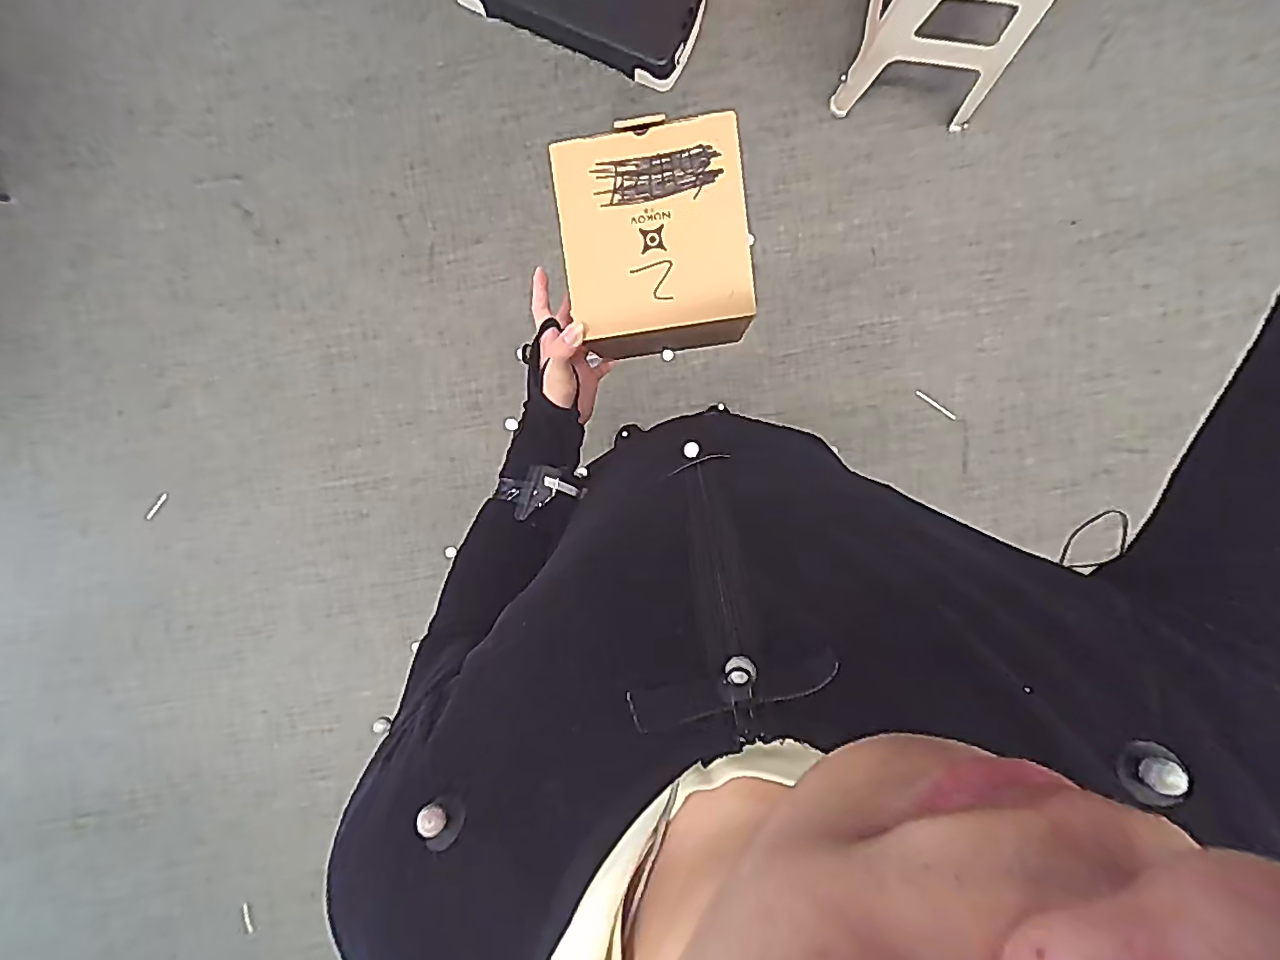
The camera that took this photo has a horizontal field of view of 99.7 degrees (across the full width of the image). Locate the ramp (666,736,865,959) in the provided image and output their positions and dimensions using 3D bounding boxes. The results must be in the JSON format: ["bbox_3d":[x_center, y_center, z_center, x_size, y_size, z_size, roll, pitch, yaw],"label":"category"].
[{"bbox_3d":[0.403,1.322,1.637,0.509,0.206,0.991,-12,94,4],"label":"ramp"}]
